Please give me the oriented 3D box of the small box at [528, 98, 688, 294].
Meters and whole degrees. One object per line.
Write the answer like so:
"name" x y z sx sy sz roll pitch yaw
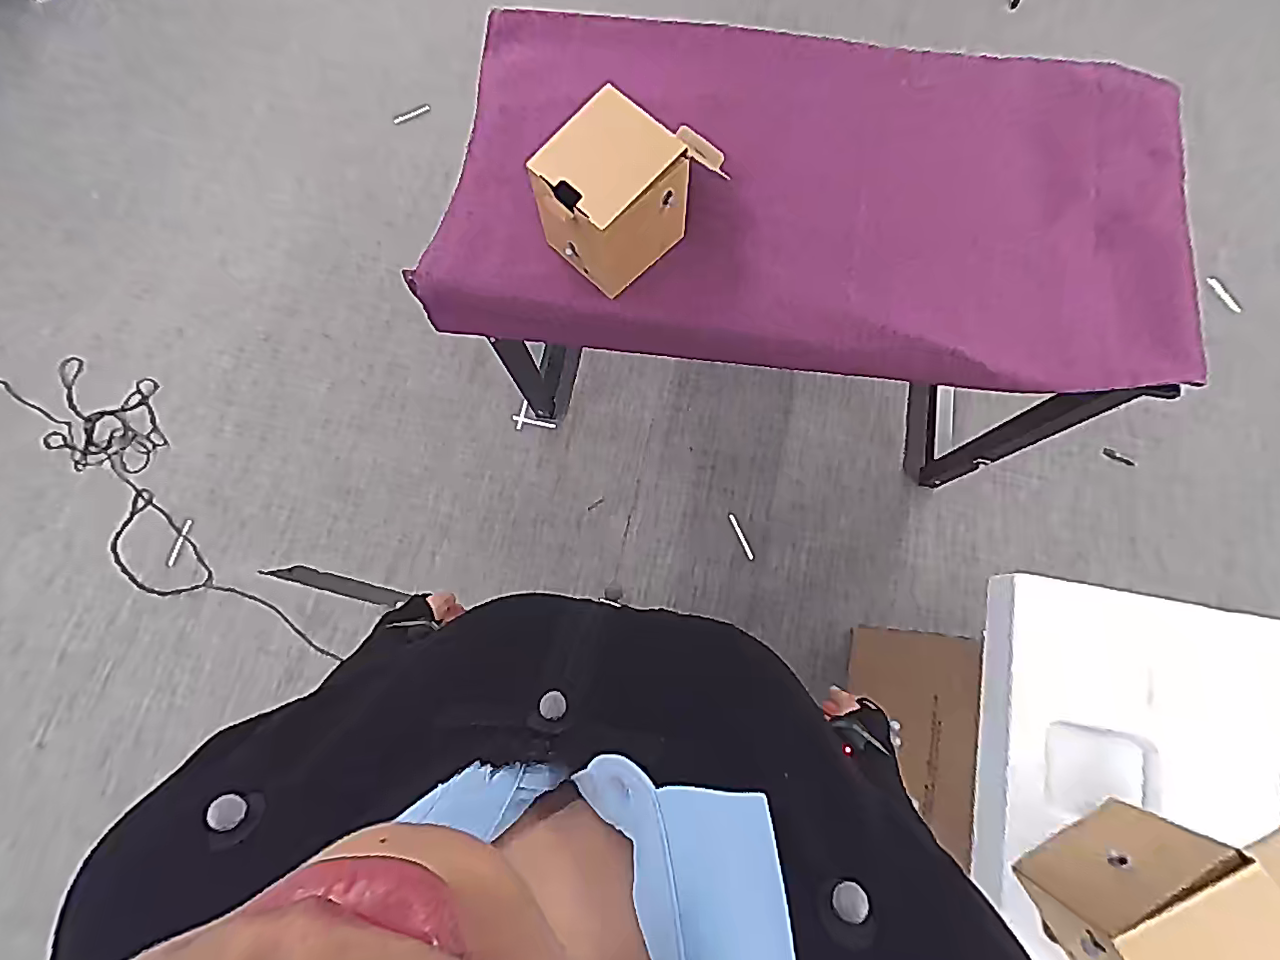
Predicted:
"small box" -0.046 -0.437 0.853 0.179 0.176 0.168 -44 78 -9
